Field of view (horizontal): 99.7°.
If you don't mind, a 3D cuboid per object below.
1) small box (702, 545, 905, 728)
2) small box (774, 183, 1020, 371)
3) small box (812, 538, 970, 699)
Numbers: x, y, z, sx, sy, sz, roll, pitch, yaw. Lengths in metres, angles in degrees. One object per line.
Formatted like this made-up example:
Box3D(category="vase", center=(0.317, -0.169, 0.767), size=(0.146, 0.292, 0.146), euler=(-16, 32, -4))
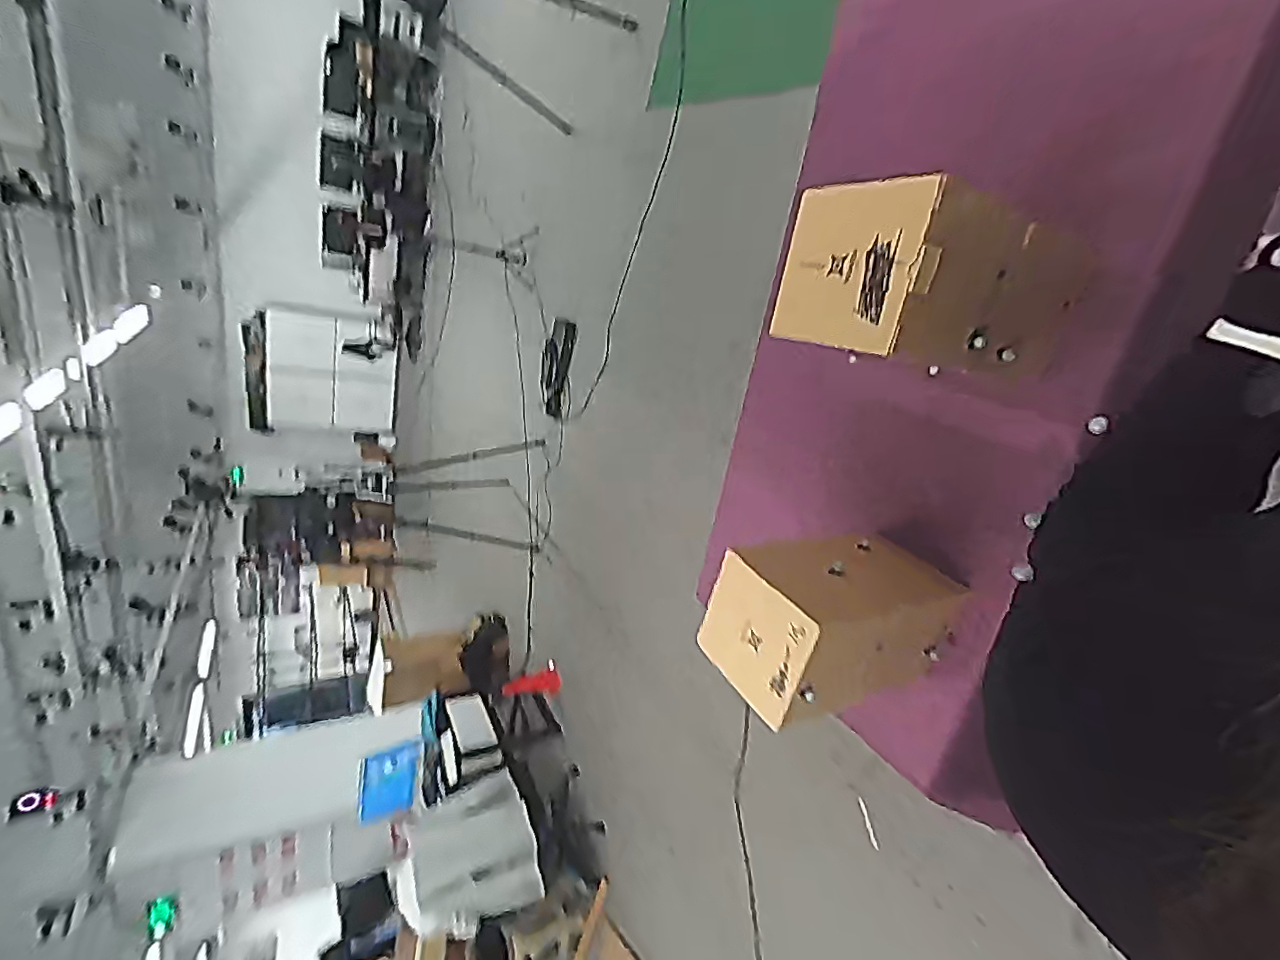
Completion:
Box3D(category="small box", center=(0.218, 0.202, 0.745), size=(0.179, 0.176, 0.168), euler=(42, 126, 51))
Box3D(category="small box", center=(0.293, -0.227, 0.630), size=(0.179, 0.176, 0.168), euler=(35, 118, 54))
Box3D(category="small box", center=(0.357, 0.201, 0.834), size=(0.179, 0.176, 0.168), euler=(41, 124, 49))
